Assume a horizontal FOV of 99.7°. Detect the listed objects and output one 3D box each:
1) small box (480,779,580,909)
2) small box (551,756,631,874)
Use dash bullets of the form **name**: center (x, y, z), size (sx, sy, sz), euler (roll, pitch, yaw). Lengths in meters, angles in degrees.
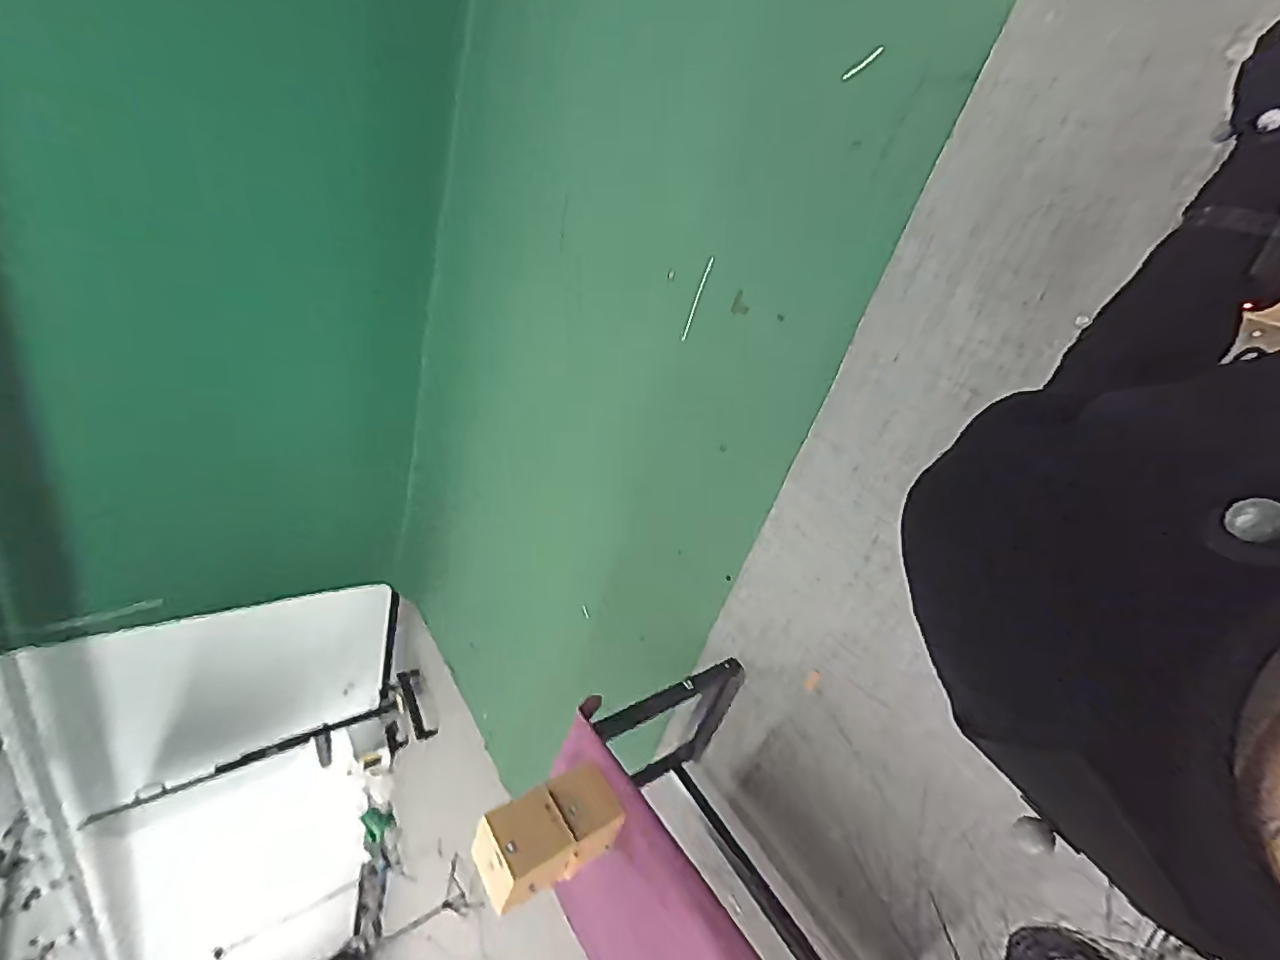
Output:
- **small box**: center (-0.267, 0.877, 1.317), size (0.168, 0.176, 0.179), euler (42, 125, 36)
- **small box**: center (-0.150, 0.878, 1.434), size (0.179, 0.176, 0.168), euler (41, 123, 39)
